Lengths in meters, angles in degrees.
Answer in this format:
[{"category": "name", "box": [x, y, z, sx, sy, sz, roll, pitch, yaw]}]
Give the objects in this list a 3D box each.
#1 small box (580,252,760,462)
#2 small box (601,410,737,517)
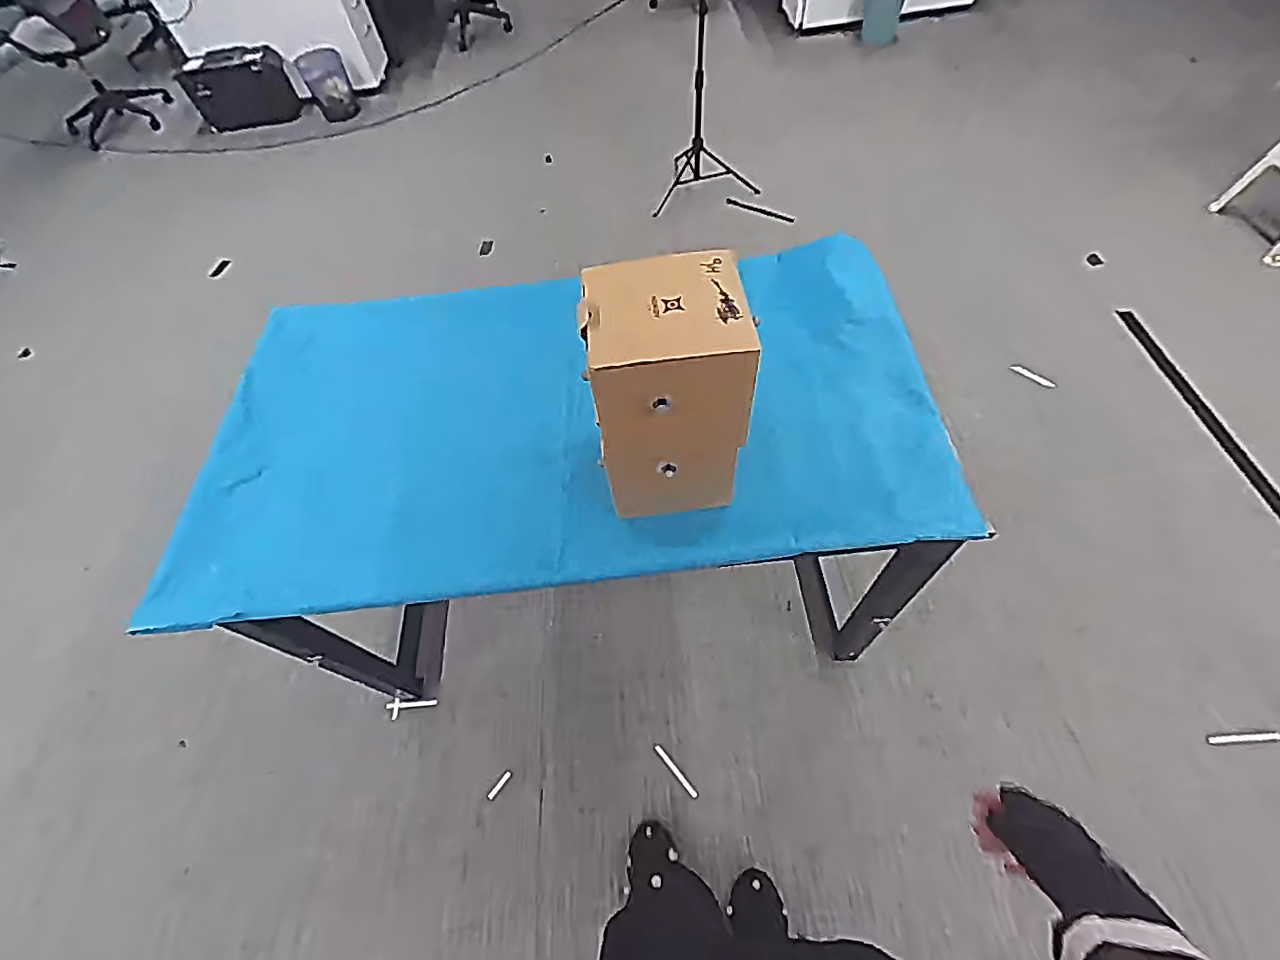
[{"category": "small box", "box": [0.034, -0.139, 0.647, 0.179, 0.176, 0.168, -10, 57, 0]}, {"category": "small box", "box": [0.042, -0.058, 0.788, 0.179, 0.176, 0.168, -7, 58, 3]}]
